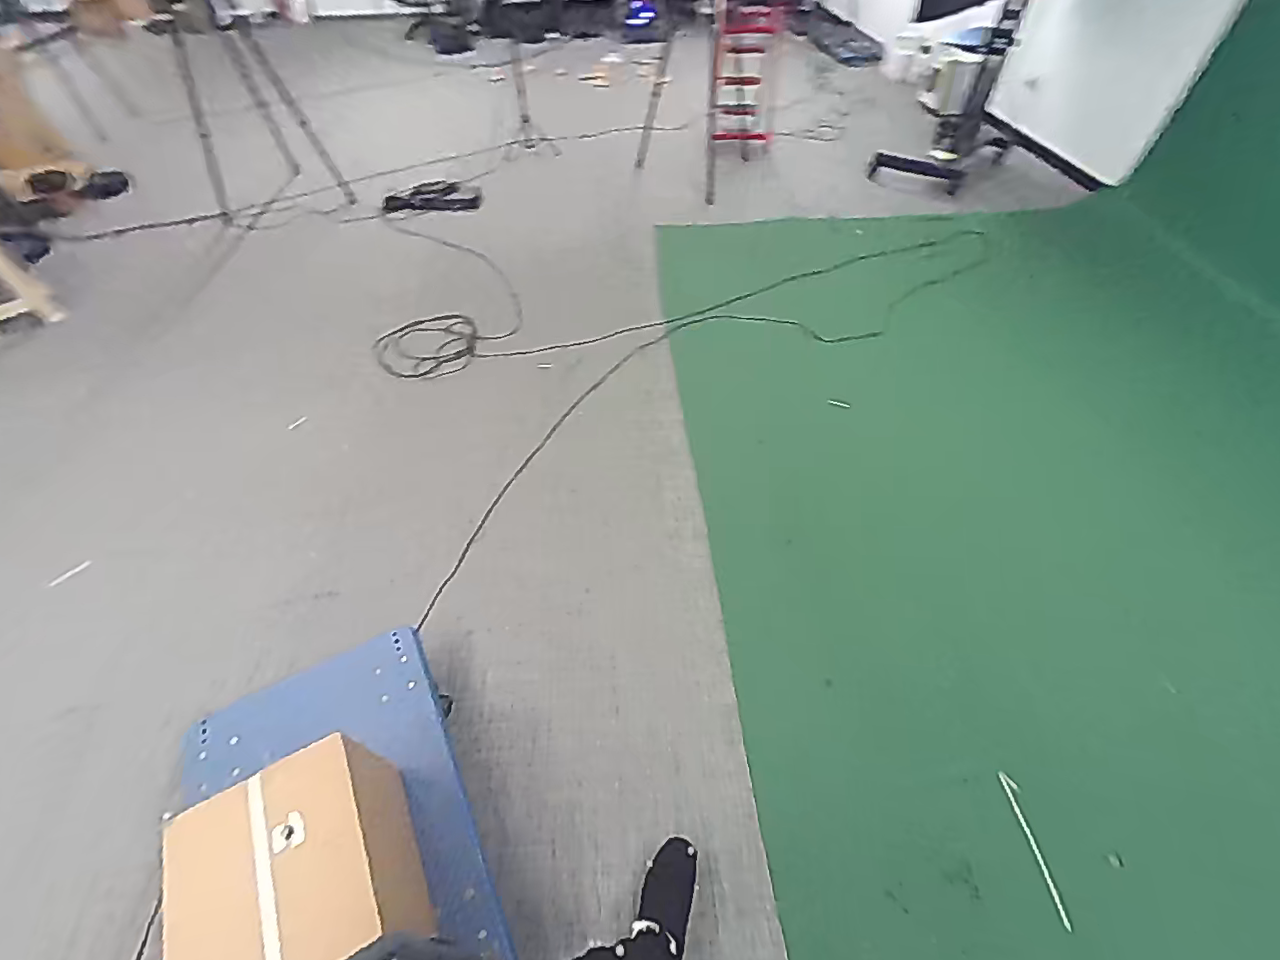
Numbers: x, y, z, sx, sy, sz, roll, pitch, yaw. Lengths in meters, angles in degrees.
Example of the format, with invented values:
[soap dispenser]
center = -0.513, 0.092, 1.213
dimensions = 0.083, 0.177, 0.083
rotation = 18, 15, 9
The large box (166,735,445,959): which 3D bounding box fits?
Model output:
[large box]
center = -0.615, 0.783, 1.018
dimensions = 0.320, 0.320, 0.408
rotation = -24, 52, -18
